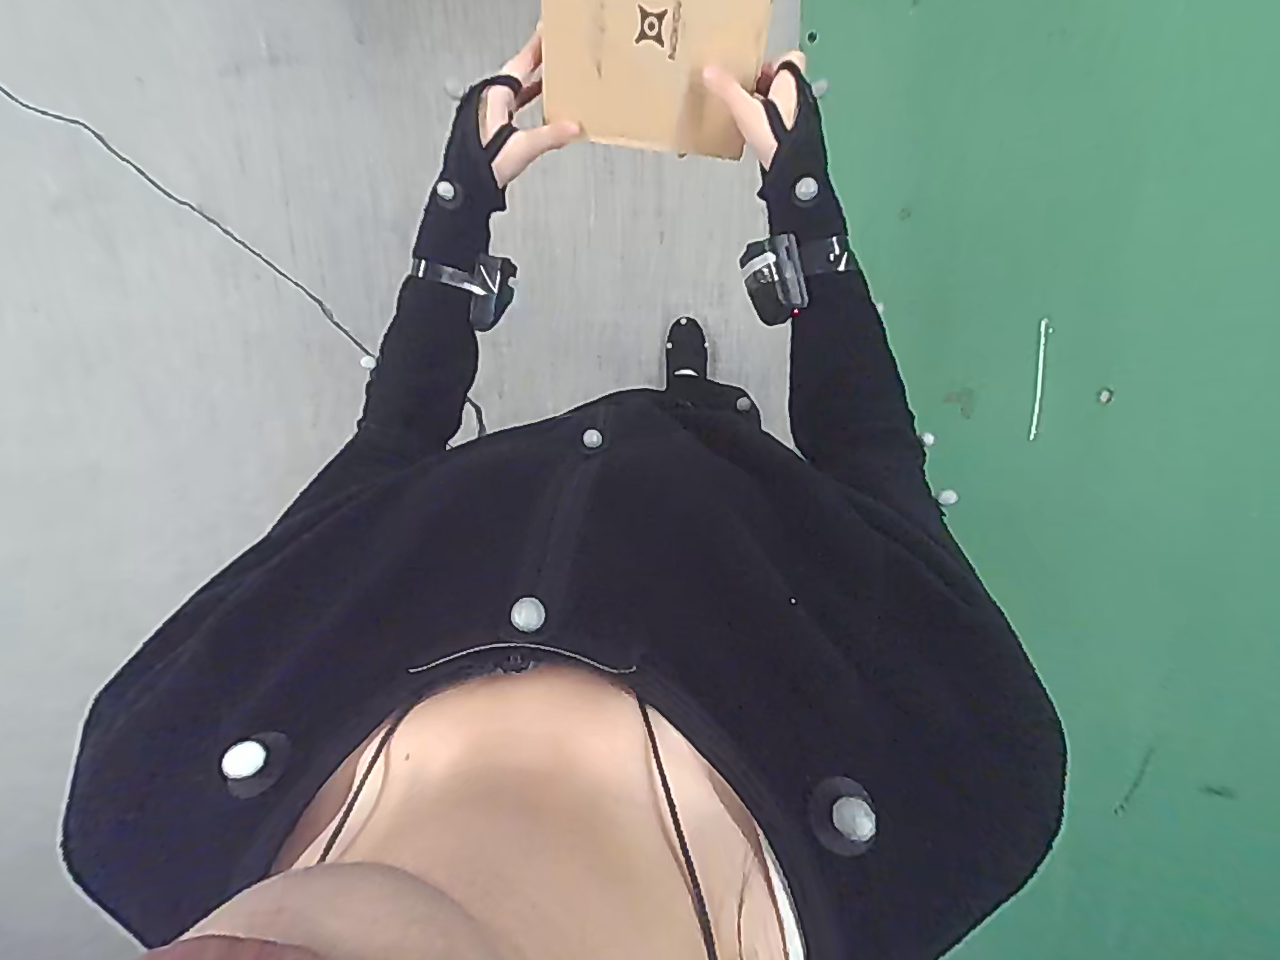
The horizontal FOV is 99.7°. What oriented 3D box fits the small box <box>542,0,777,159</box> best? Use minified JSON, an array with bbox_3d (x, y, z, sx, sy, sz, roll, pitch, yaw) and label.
[{"bbox_3d":[0.009,-0.401,0.470,0.179,0.176,0.168,3,131,-7],"label":"small box"}]
